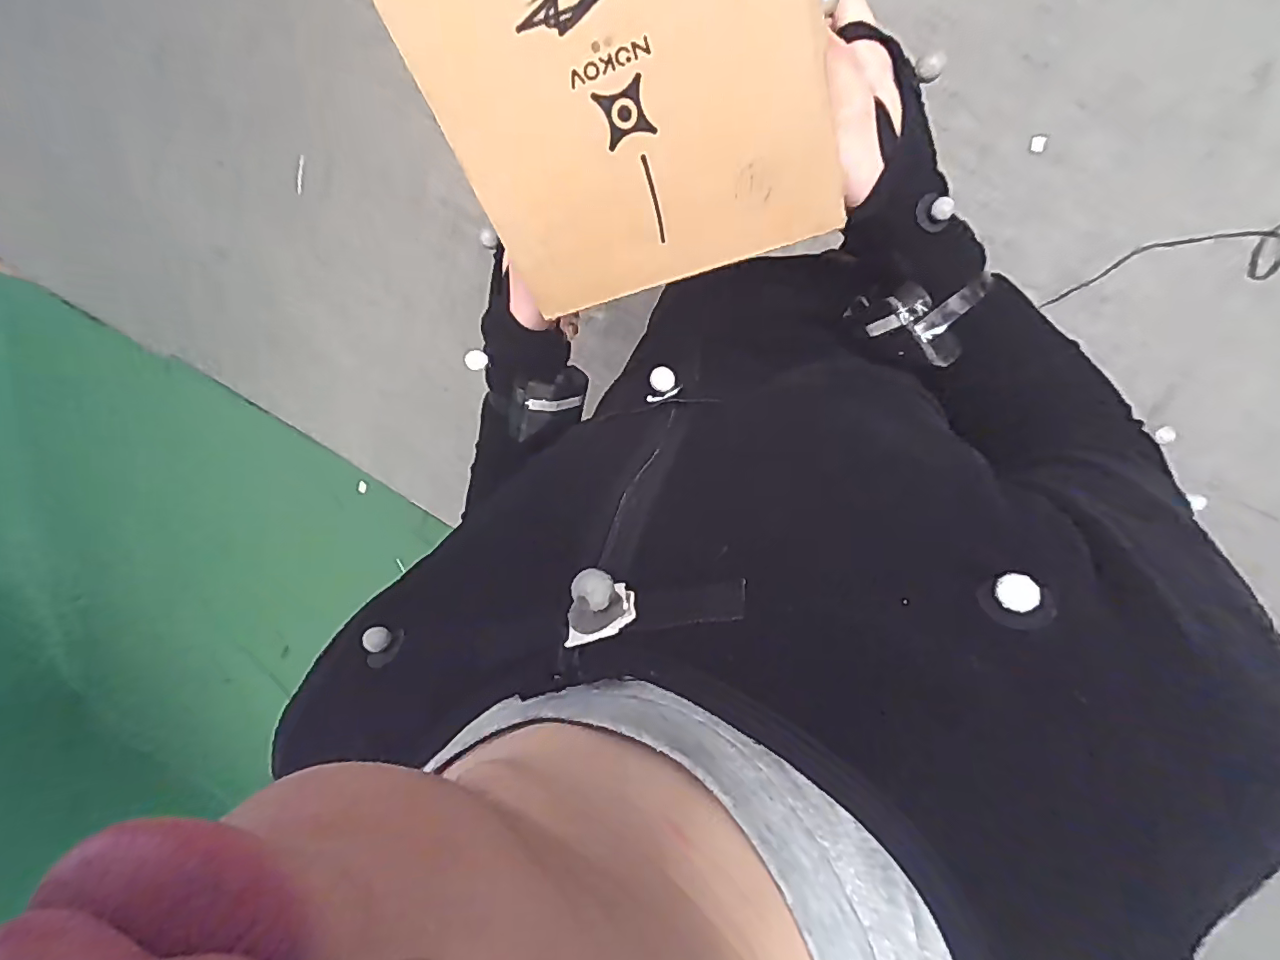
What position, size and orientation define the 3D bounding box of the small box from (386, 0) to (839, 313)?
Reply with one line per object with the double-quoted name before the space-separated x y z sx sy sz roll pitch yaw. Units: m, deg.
"small box" 0.000 -0.224 0.287 0.168 0.176 0.179 -10 133 18
